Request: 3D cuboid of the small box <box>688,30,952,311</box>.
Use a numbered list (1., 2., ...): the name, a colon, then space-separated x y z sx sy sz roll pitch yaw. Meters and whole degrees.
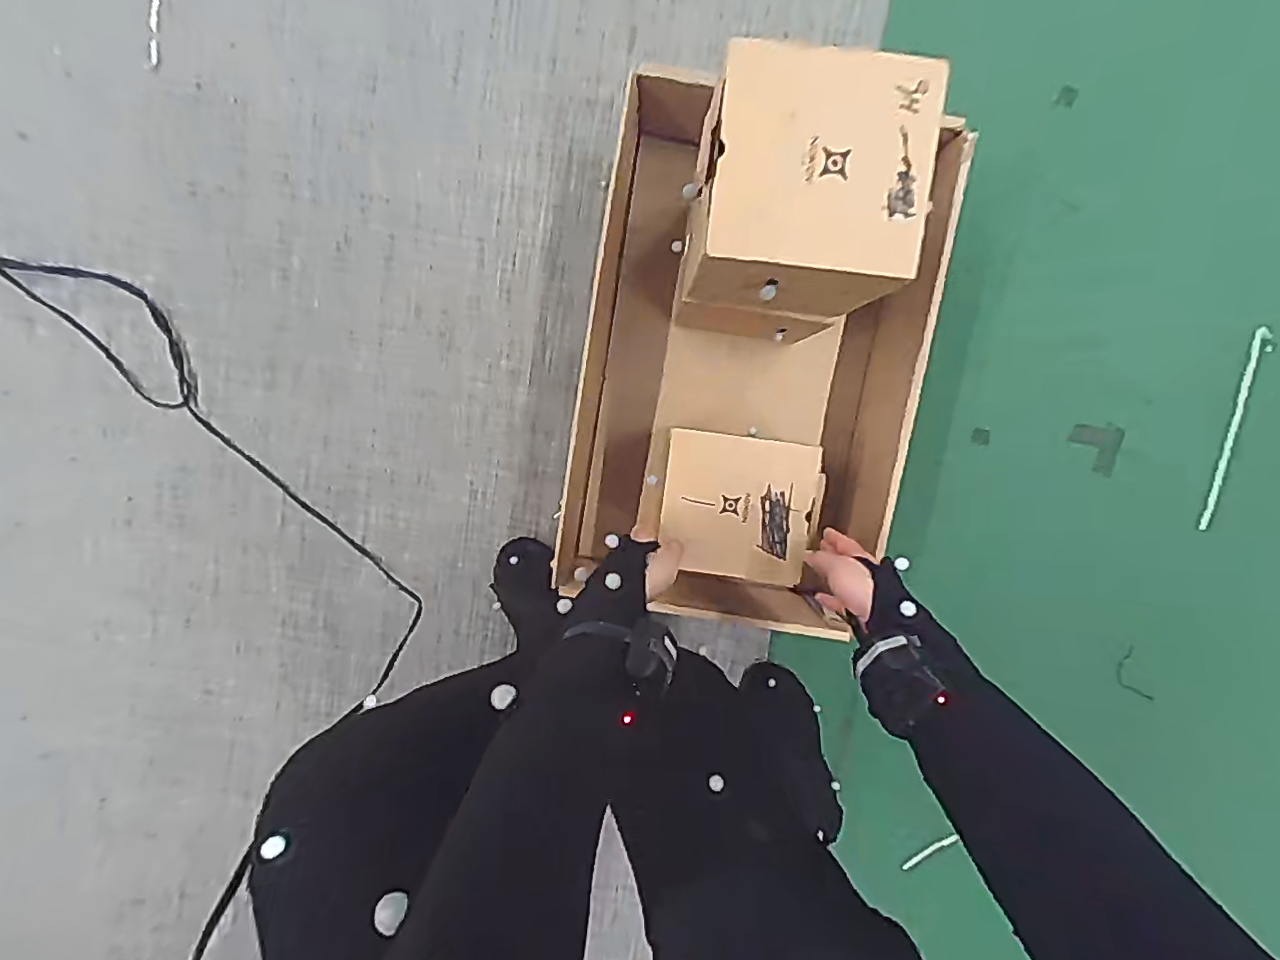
1. small box: 0.142 -0.260 0.496 0.179 0.176 0.168 7 97 0
